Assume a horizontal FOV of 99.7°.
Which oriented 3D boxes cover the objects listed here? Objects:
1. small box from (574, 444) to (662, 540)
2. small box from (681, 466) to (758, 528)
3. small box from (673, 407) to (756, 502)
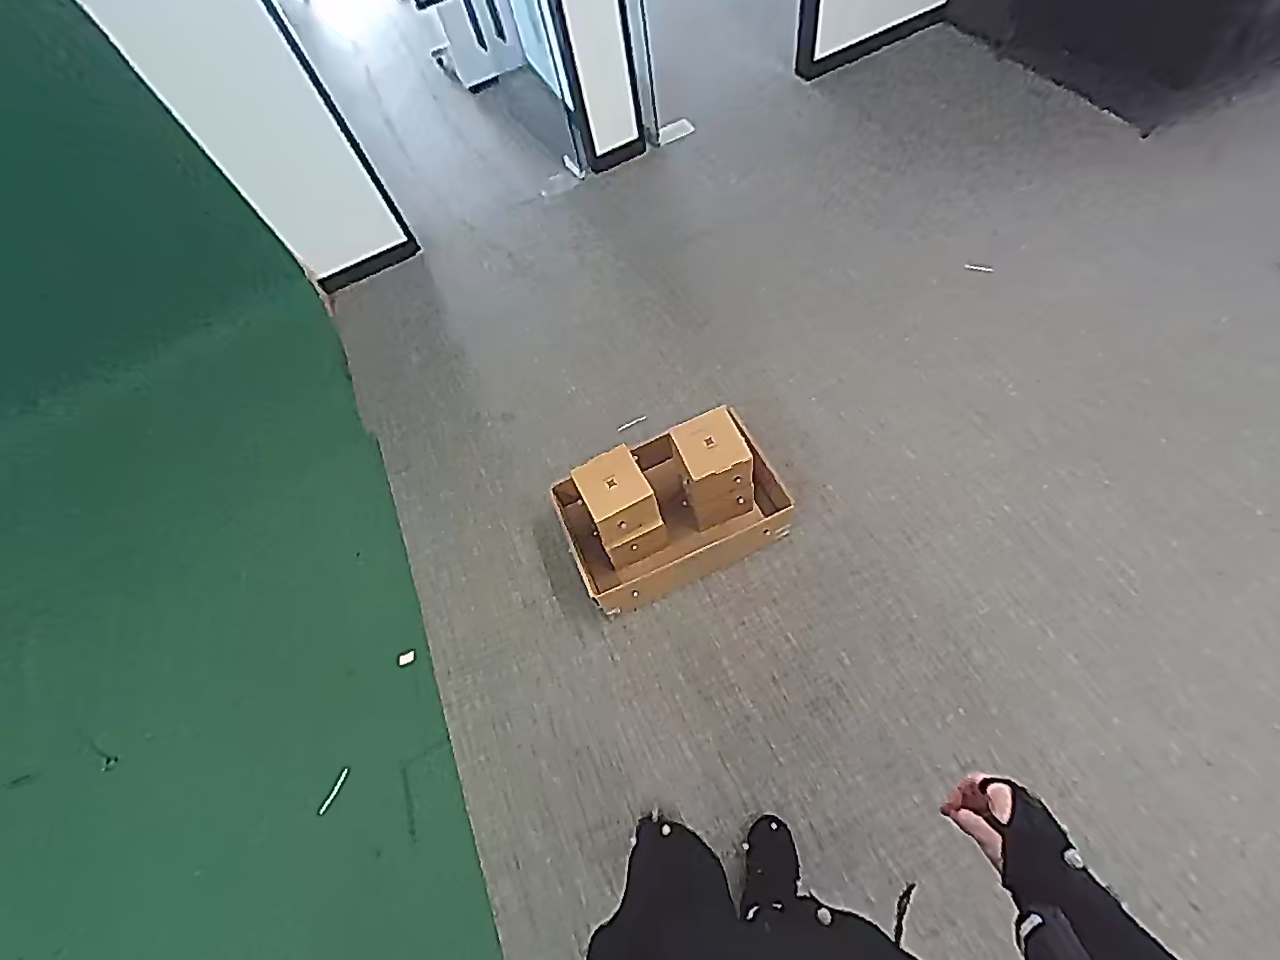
[{"bbox_3d":[-0.053,0.042,1.451,0.168,0.176,0.179,-28,60,-6],"label":"small box"},{"bbox_3d":[0.233,0.018,1.596,0.179,0.176,0.168,-22,60,-1],"label":"small box"},{"bbox_3d":[0.201,-0.059,1.457,0.168,0.176,0.179,-21,60,-2],"label":"small box"}]
